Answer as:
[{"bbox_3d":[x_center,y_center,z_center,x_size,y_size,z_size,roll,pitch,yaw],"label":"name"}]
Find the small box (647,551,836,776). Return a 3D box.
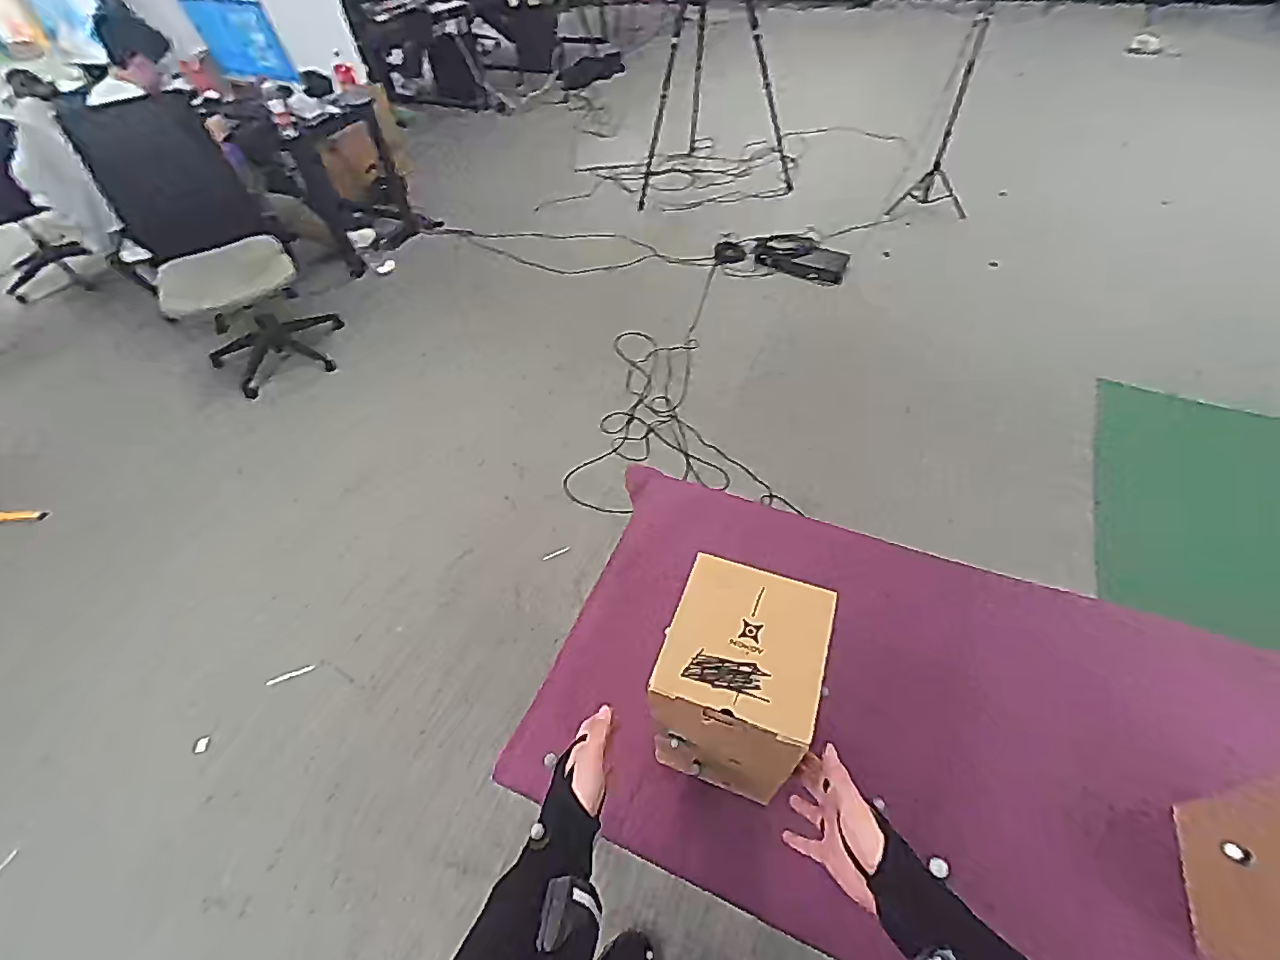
[{"bbox_3d":[0.119,0.218,0.637,0.168,0.176,0.179,15,52,16],"label":"small box"}]

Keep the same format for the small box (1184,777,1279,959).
[{"bbox_3d":[0.759,0.467,0.593,0.168,0.176,0.179,15,52,18],"label":"small box"}]

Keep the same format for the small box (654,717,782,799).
[{"bbox_3d":[0.128,0.322,0.765,0.168,0.176,0.179,14,53,16],"label":"small box"}]
